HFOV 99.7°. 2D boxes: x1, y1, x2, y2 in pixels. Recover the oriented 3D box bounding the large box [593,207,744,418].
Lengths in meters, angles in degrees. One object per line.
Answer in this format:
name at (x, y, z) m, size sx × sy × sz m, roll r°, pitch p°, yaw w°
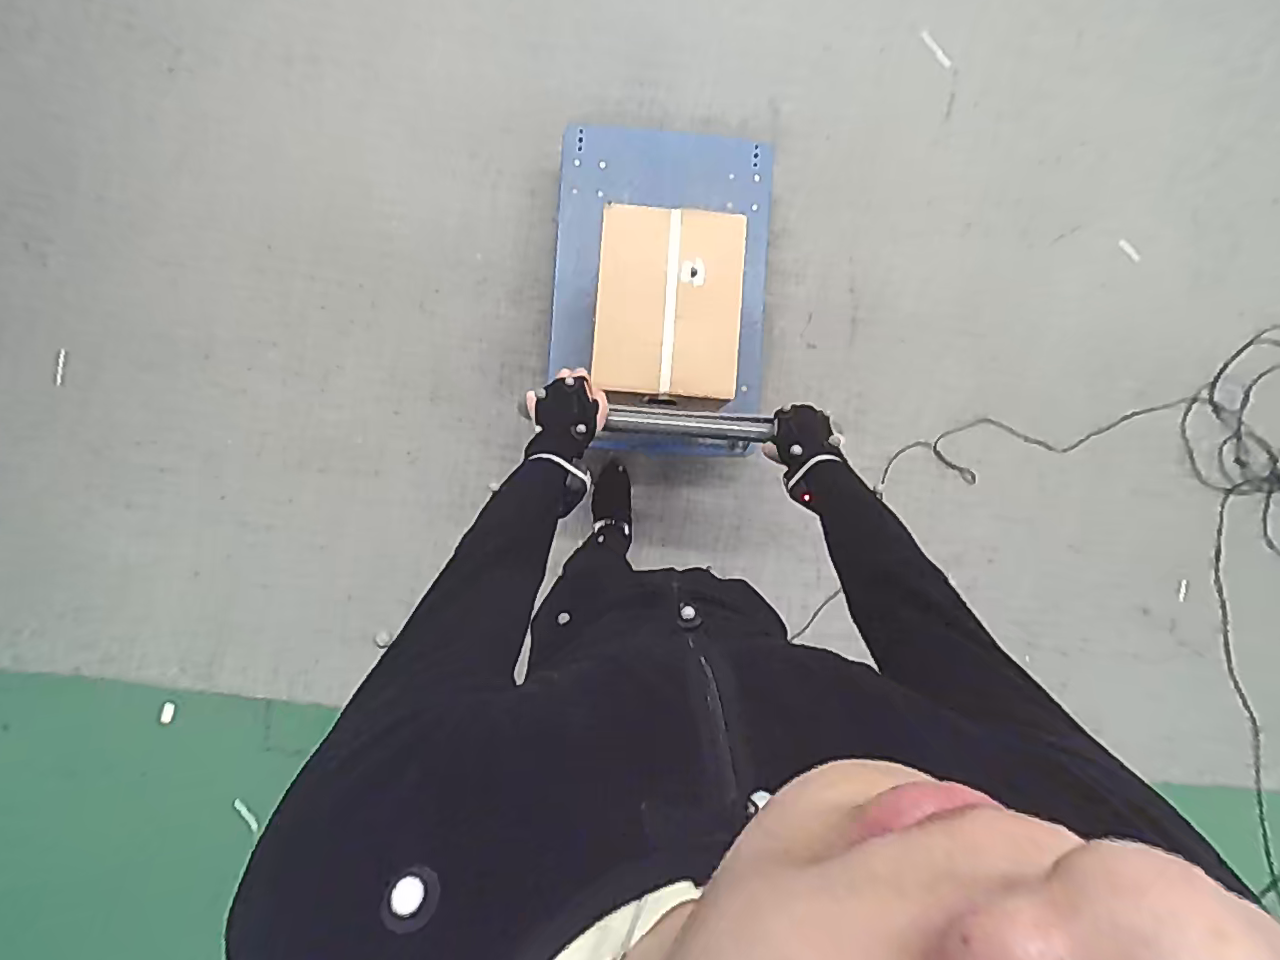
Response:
large box at (0.059, -0.374, 1.304) m, size 0.320 × 0.320 × 0.408 m, roll 4°, pitch 87°, yaw -3°
